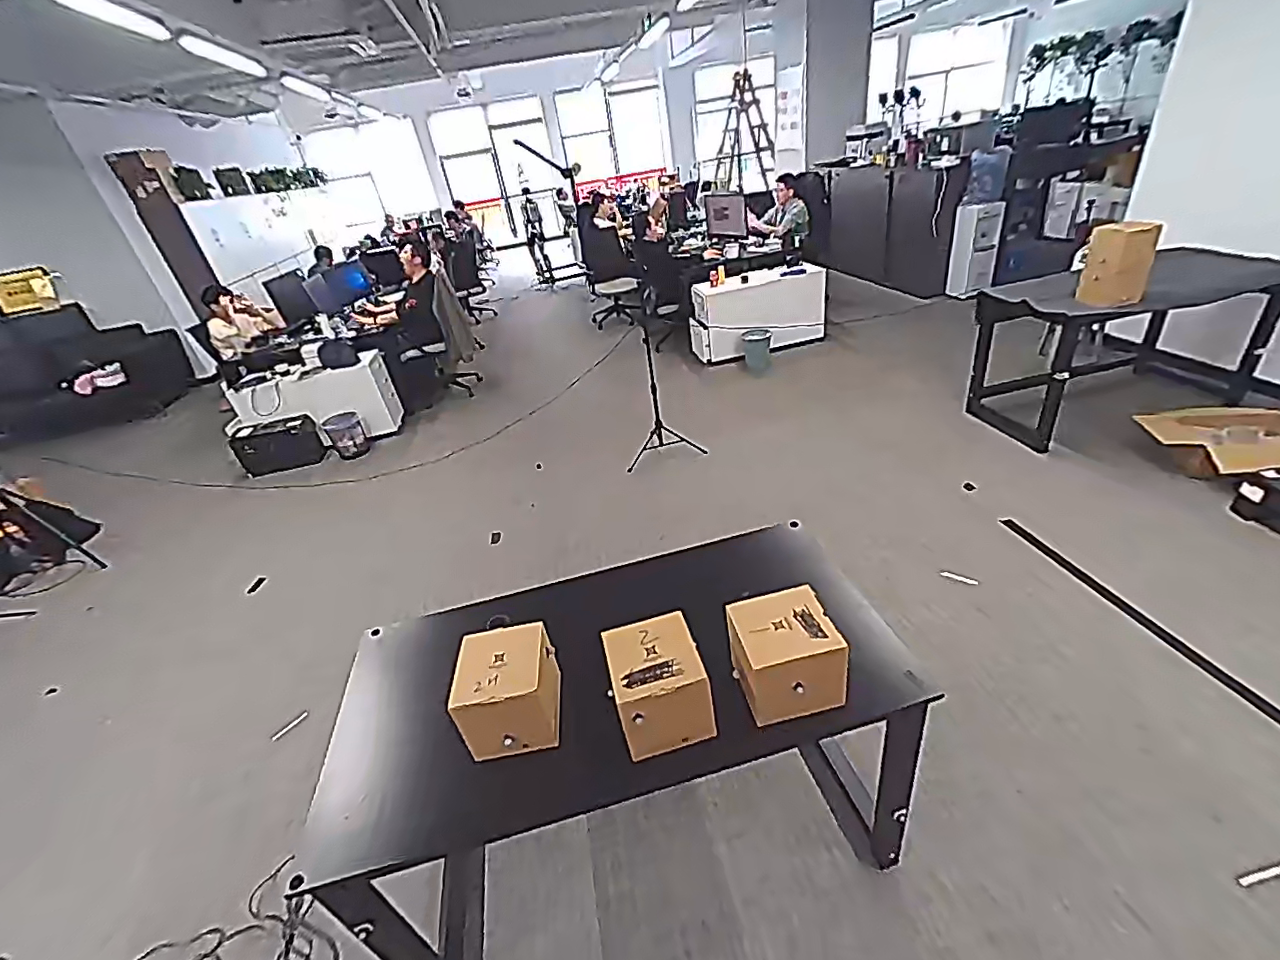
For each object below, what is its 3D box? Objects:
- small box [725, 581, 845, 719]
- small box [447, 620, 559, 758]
[{"bbox_3d":[0.275,0.329,1.047,0.179,0.176,0.168,-14,31,-3],"label":"small box"},{"bbox_3d":[-0.261,0.413,1.075,0.168,0.176,0.179,-11,32,0],"label":"small box"}]
